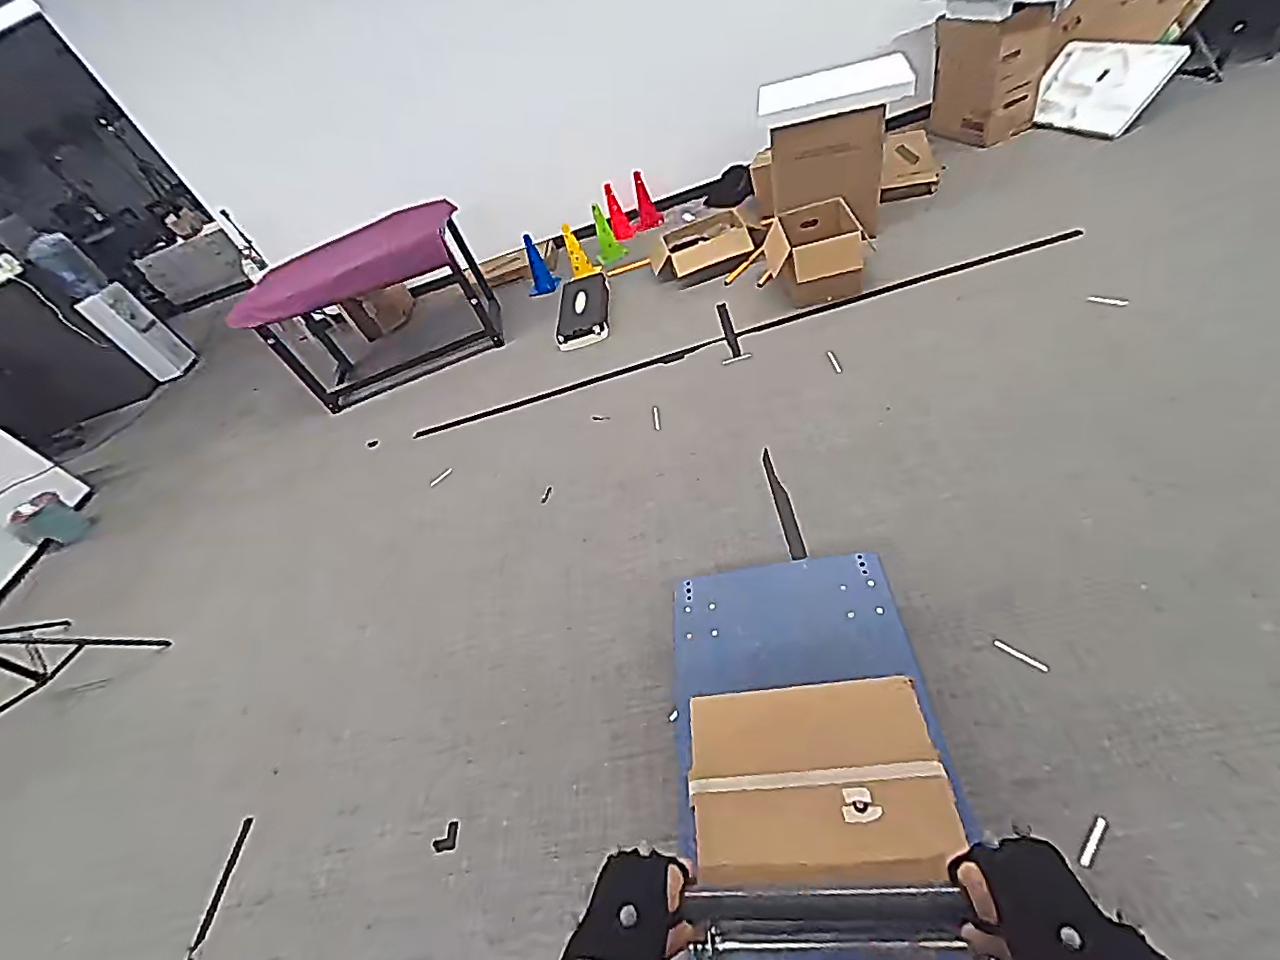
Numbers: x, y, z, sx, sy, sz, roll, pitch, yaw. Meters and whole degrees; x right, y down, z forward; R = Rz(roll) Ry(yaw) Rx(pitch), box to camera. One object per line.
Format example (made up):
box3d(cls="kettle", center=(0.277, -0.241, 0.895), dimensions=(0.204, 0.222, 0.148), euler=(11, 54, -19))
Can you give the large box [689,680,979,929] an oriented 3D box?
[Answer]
box3d(cls="large box", center=(0.324, 0.604, 0.993), dimensions=(0.408, 0.320, 0.320), euler=(-11, 45, 12))
